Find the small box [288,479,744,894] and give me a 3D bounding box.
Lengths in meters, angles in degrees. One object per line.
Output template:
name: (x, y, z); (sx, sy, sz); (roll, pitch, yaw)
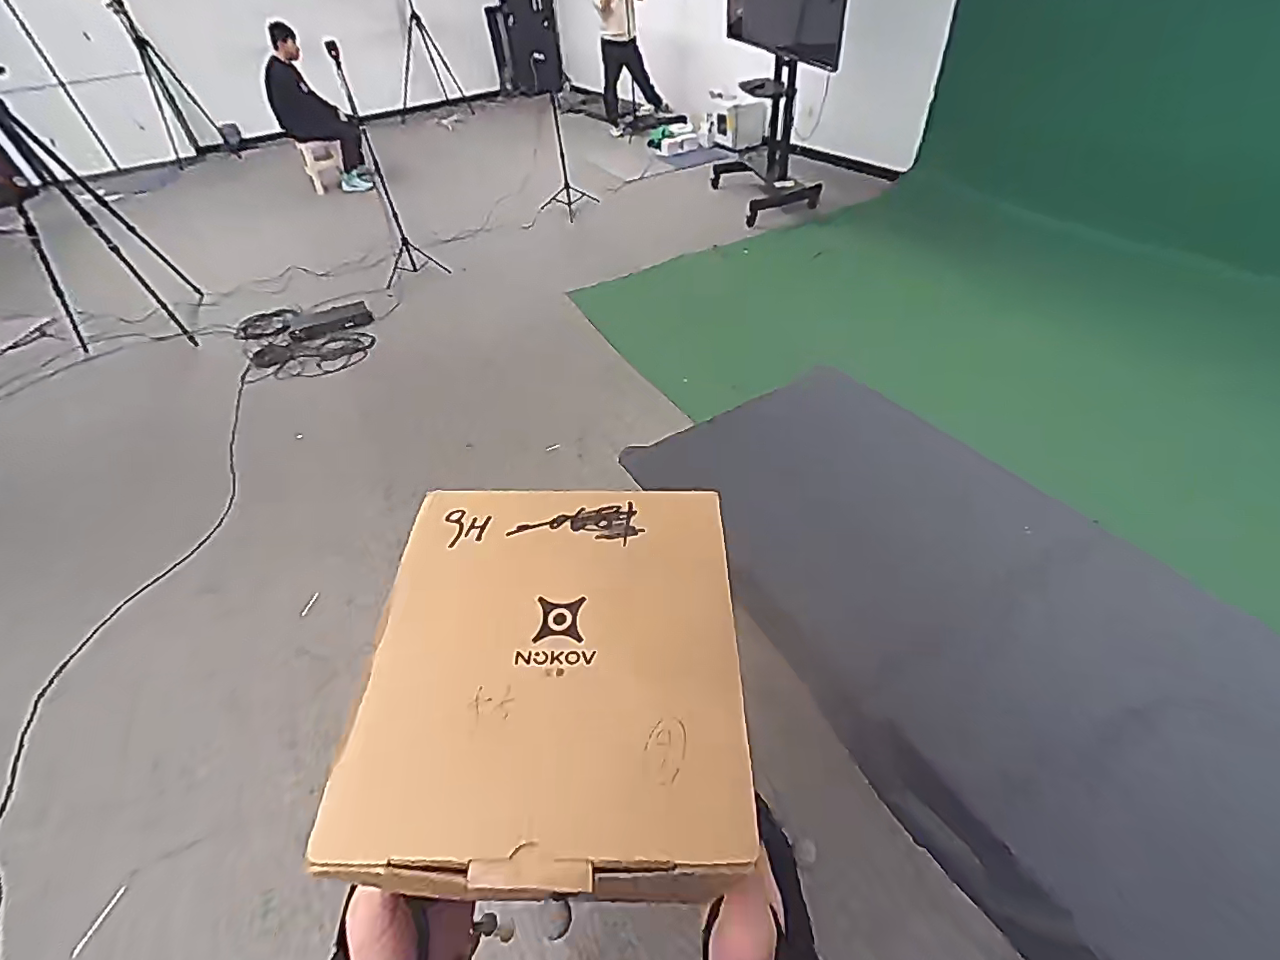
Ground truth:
small box: (-0.043, 0.120, 0.302); (0.168, 0.176, 0.179); (2, 51, -1)
